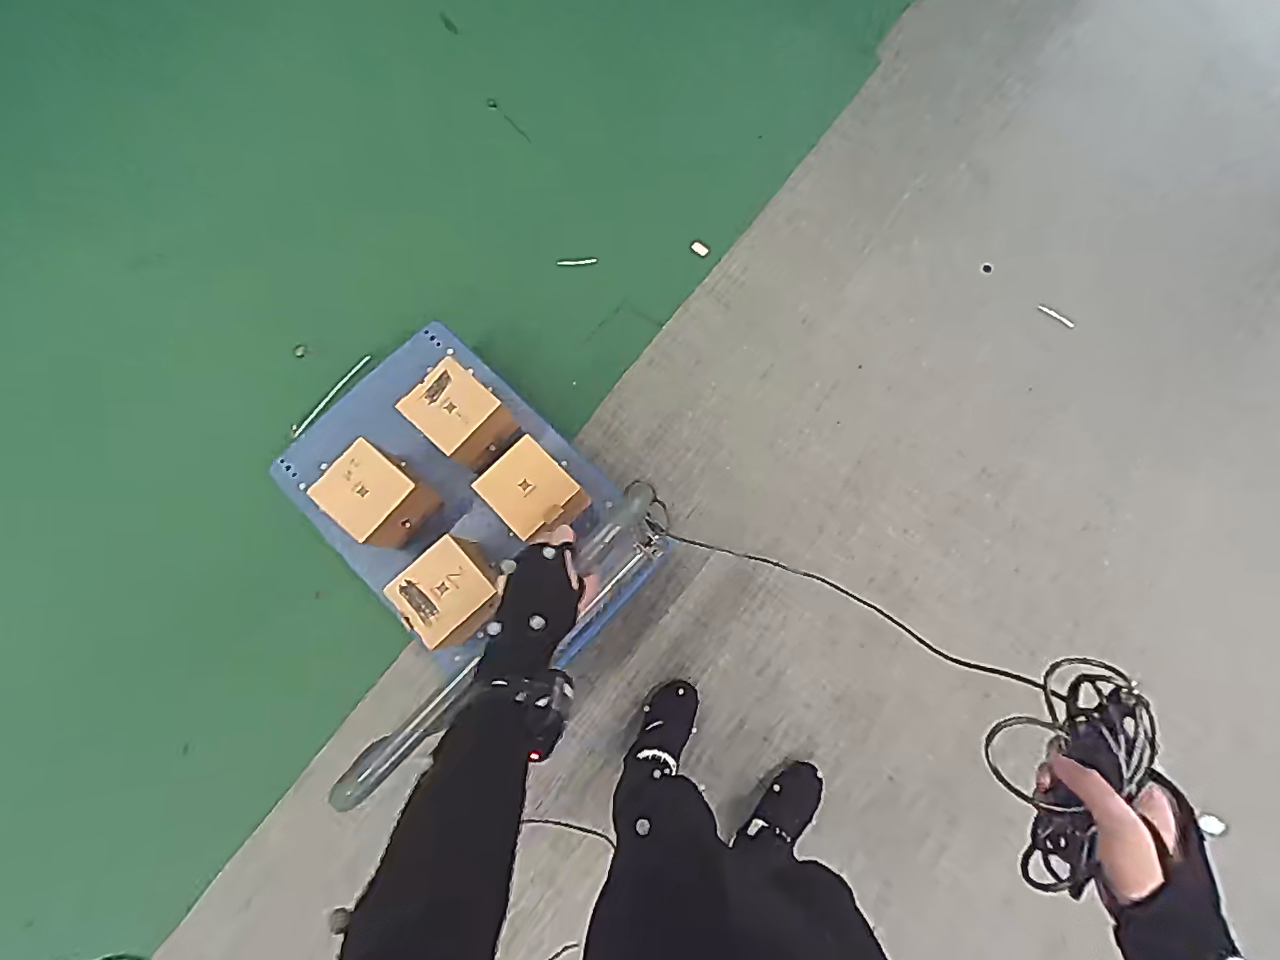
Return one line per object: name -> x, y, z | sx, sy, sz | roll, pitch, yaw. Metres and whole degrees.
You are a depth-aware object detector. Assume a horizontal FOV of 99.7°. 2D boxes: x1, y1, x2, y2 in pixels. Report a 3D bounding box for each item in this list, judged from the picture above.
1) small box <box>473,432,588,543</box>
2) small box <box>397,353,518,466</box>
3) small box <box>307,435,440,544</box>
small box -> -0.236, 0.027, 1.216 | 0.168, 0.176, 0.179 | -44, 81, -7
small box -> -0.414, -0.154, 1.257 | 0.179, 0.176, 0.168 | 42, 83, 8
small box -> -0.589, 0.031, 1.223 | 0.179, 0.176, 0.168 | 40, 81, 9
